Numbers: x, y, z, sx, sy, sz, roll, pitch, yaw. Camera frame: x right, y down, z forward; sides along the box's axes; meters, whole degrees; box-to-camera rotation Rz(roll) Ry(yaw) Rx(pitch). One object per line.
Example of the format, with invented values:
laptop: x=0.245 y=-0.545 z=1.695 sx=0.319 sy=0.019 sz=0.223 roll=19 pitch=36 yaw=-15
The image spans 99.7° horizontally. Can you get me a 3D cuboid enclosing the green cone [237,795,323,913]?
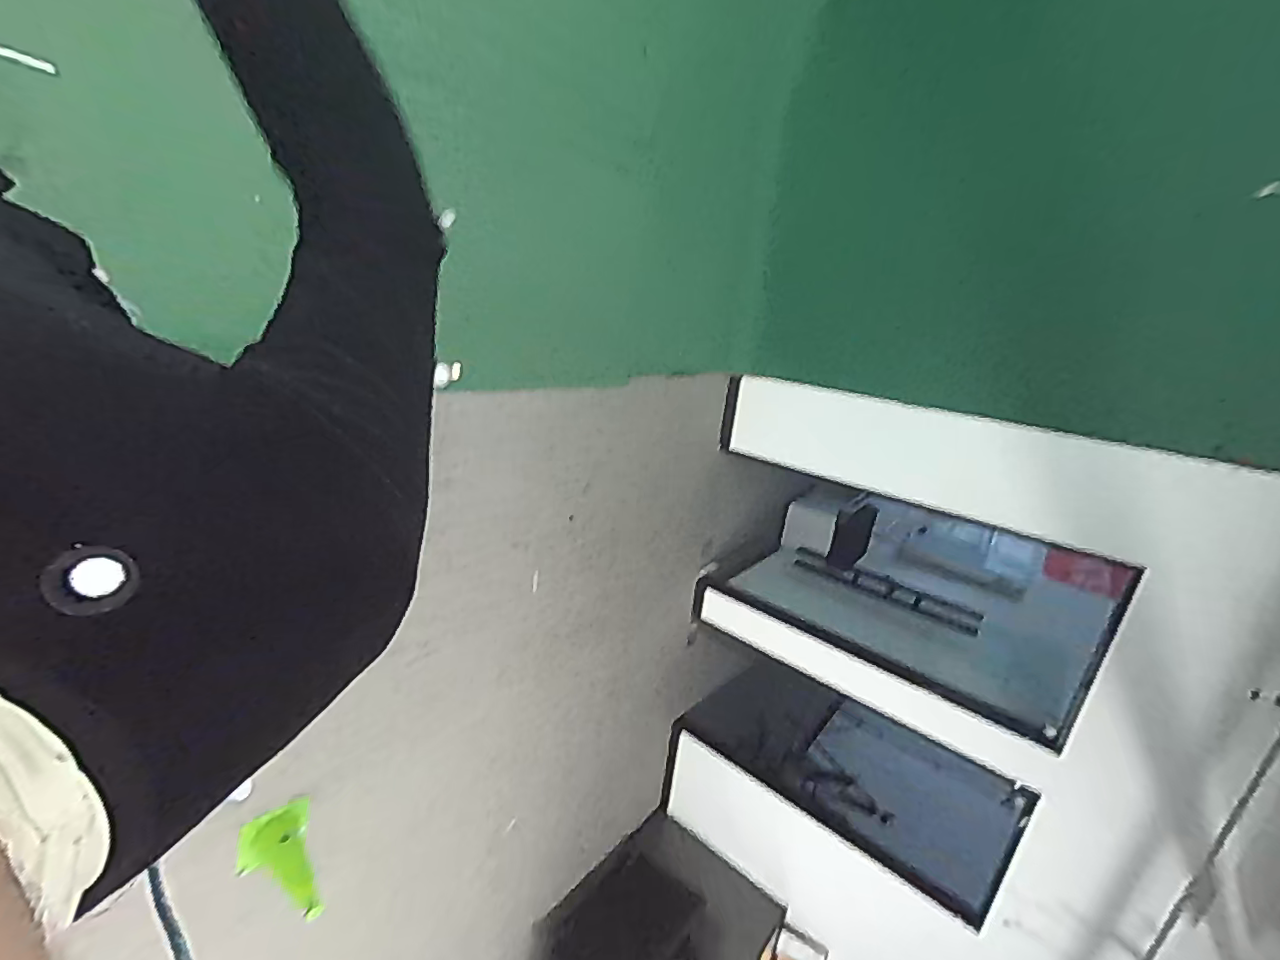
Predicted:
green cone: x=-1.101 y=1.228 z=1.716 sx=0.200 sy=0.368 sz=0.202 roll=-6 pitch=110 yaw=-52
